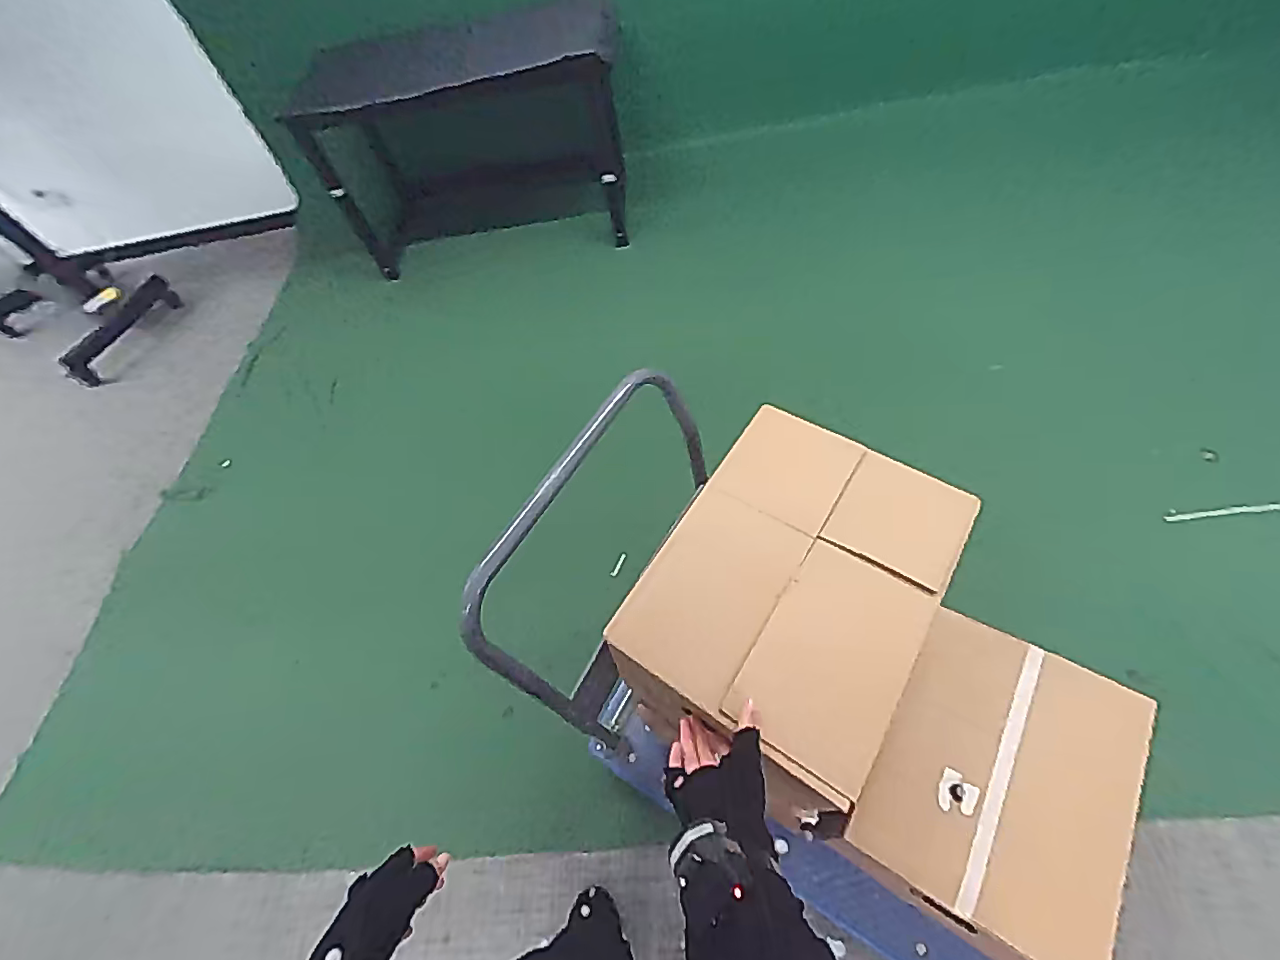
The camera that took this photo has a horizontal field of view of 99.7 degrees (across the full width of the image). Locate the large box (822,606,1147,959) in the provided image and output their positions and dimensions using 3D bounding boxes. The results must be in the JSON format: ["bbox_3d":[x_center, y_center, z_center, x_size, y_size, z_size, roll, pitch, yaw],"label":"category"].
[{"bbox_3d":[0.540,0.495,0.899,0.320,0.320,0.408,24,65,25],"label":"large box"}]
